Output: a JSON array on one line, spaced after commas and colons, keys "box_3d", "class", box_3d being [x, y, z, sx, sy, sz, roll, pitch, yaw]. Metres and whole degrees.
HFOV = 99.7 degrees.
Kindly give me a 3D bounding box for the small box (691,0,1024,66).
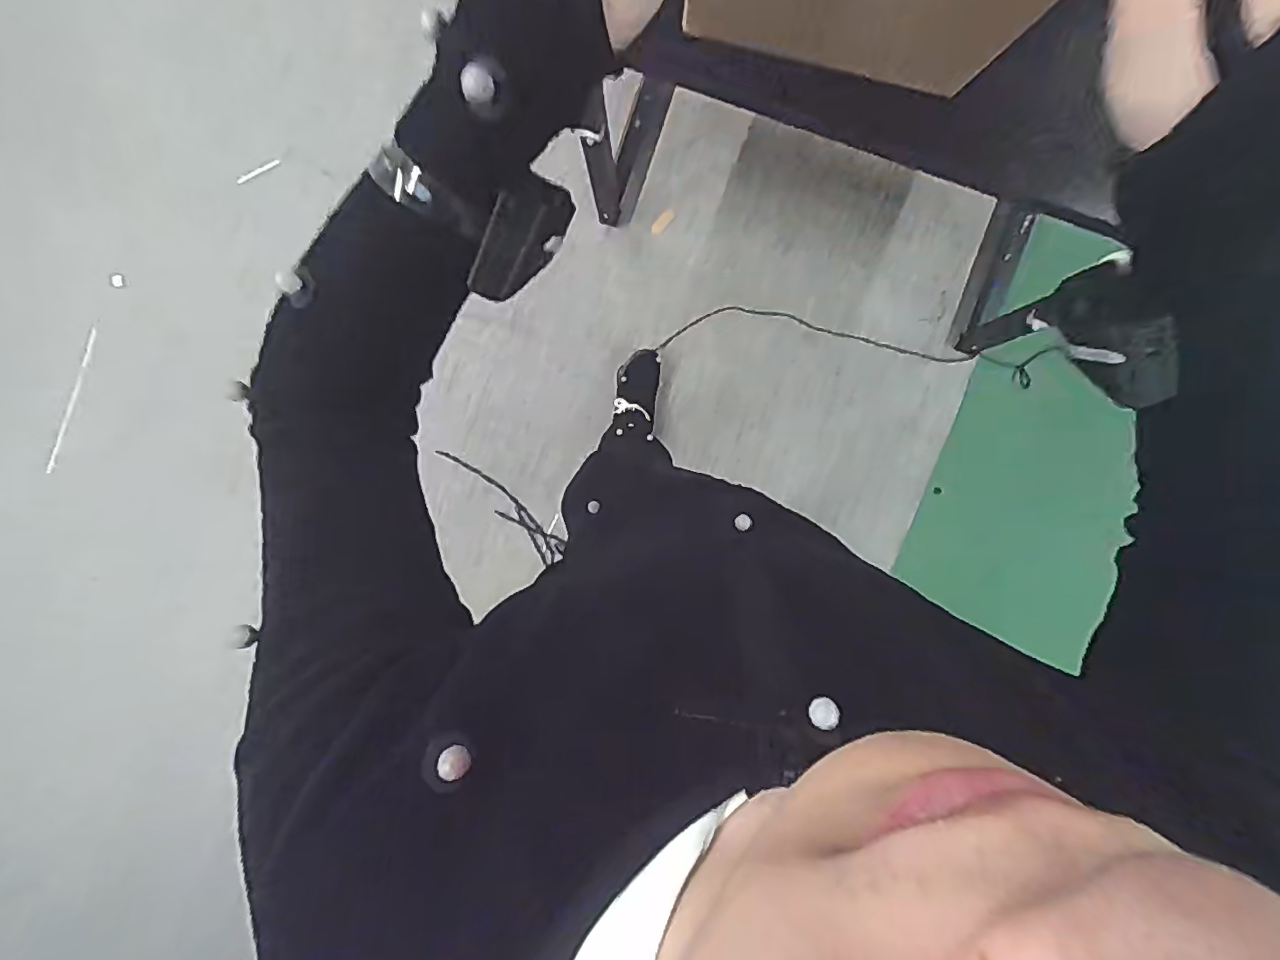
[{"box_3d": [0.125, -0.321, 0.229, 0.179, 0.176, 0.168, 13, 101, 0], "class": "small box"}]
